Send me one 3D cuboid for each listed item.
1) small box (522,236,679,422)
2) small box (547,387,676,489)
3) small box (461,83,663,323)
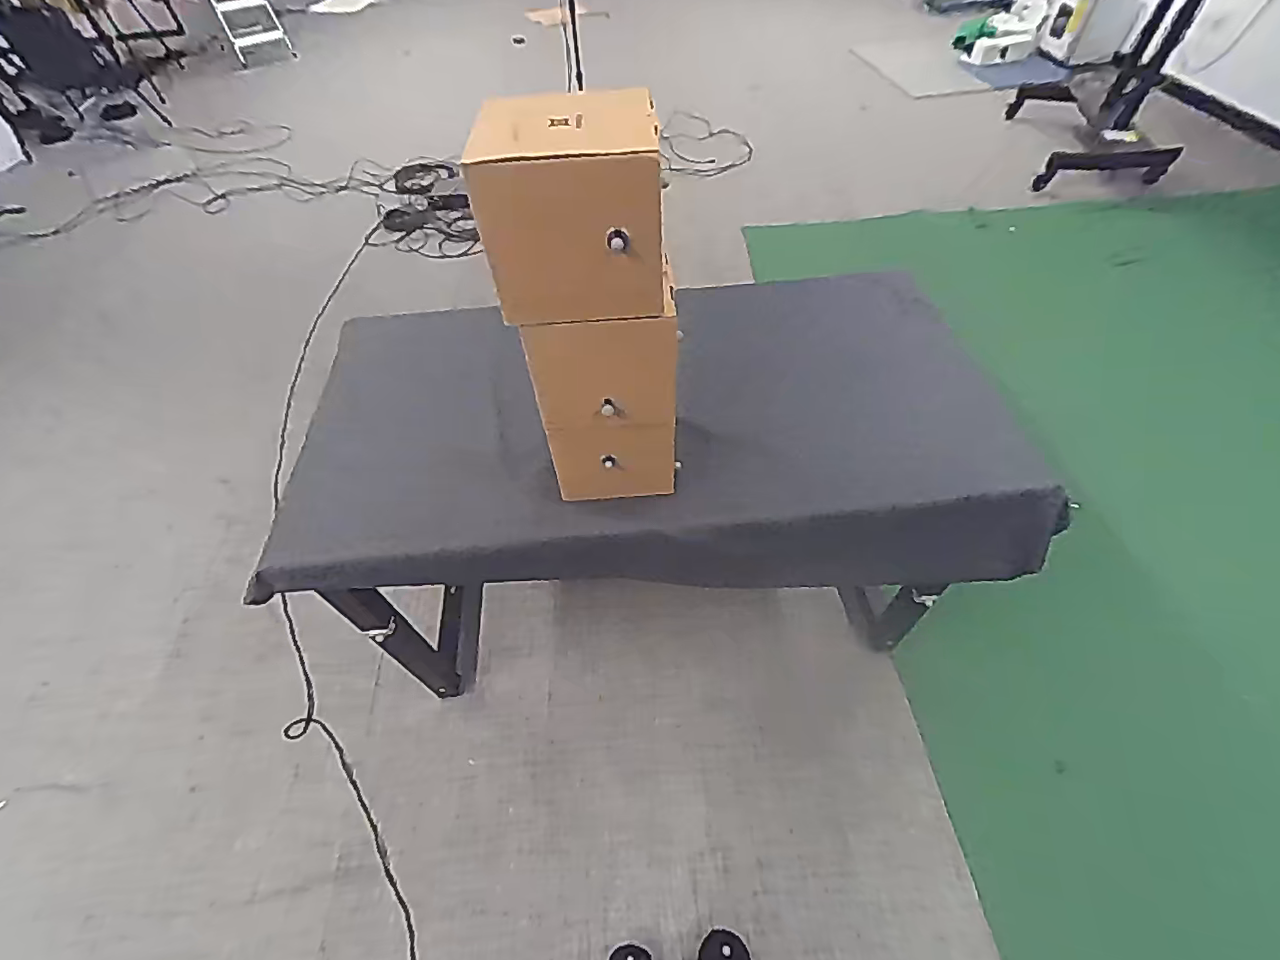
[{"bbox_3d":[-0.044,-0.192,0.705,0.179,0.176,0.168,-4,52,0],"label":"small box"},{"bbox_3d":[-0.036,-0.099,0.836,0.179,0.176,0.168,-2,51,2],"label":"small box"},{"bbox_3d":[-0.067,-0.288,0.575,0.179,0.176,0.168,-5,51,2],"label":"small box"}]
